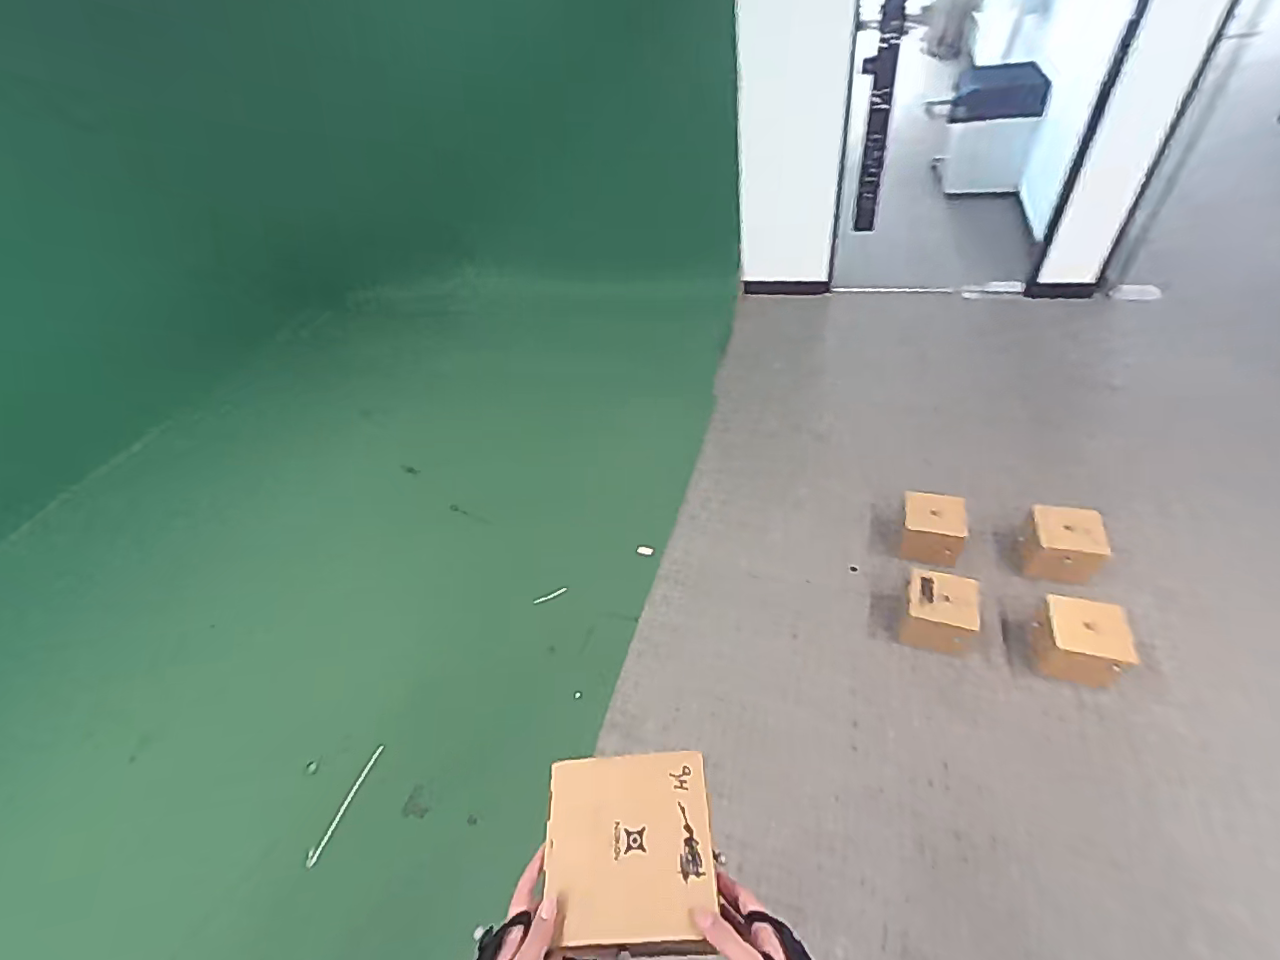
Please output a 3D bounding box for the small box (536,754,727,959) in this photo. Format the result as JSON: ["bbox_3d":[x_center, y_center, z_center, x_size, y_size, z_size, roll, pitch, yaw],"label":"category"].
[{"bbox_3d":[0.000,0.426,0.608,0.179,0.176,0.168,-5,44,6],"label":"small box"}]

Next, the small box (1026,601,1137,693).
[{"bbox_3d":[1.180,0.454,1.466,0.179,0.176,0.168,8,48,17],"label":"small box"}]

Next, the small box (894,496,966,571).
[{"bbox_3d":[0.945,0.179,1.774,0.179,0.176,0.168,8,48,19],"label":"small box"}]

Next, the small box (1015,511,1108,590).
[{"bbox_3d":[1.284,0.219,1.665,0.179,0.176,0.168,8,49,18],"label":"small box"}]
